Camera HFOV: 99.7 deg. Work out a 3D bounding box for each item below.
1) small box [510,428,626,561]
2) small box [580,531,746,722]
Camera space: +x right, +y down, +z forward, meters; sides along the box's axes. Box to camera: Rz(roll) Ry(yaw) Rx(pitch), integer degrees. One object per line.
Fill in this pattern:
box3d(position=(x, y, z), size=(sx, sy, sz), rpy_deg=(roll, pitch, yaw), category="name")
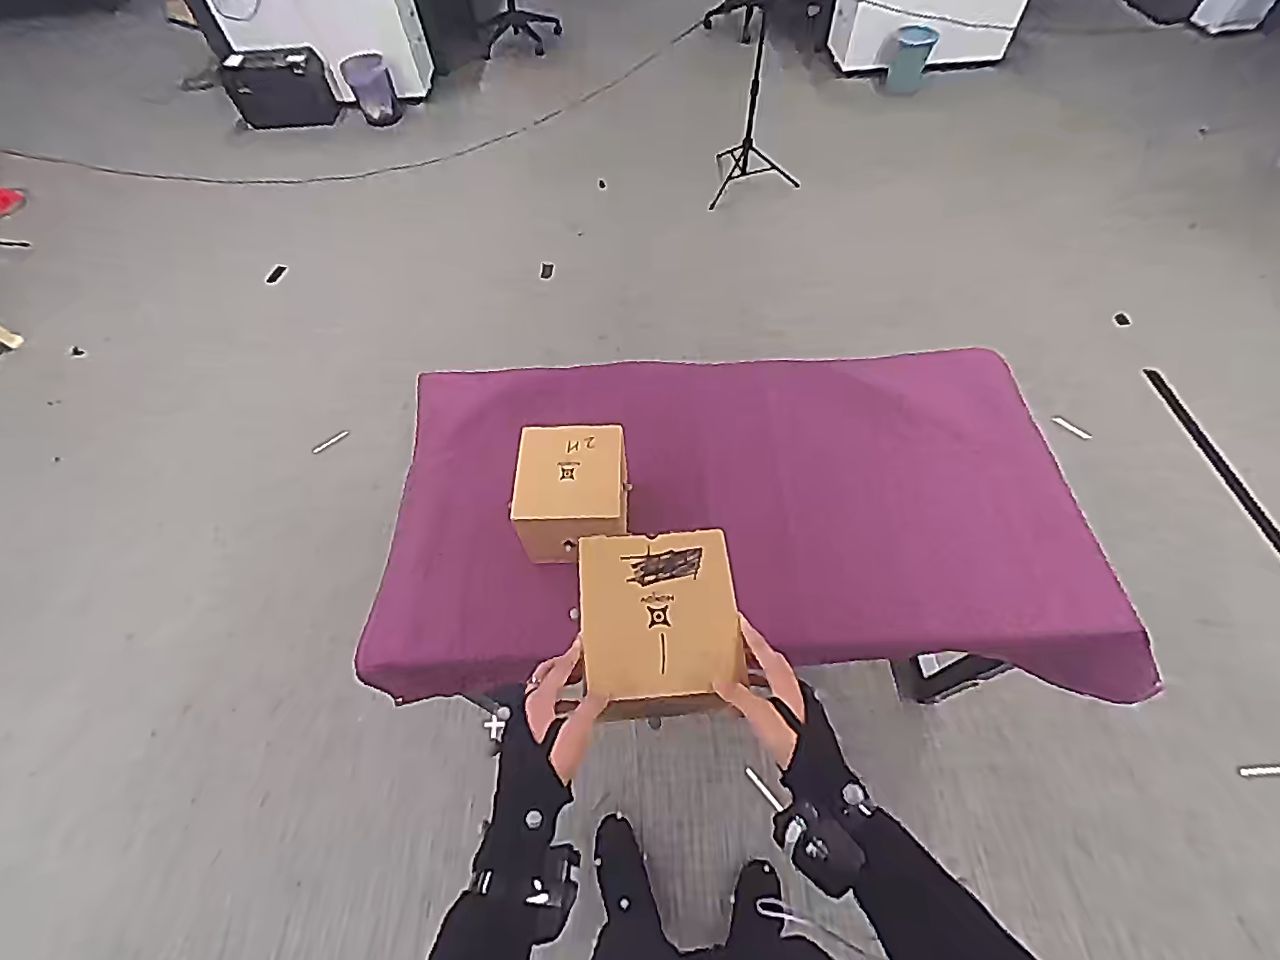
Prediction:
box3d(position=(-0.111, 0.032, 0.914), size=(0.168, 0.176, 0.179), rpy_deg=(-1, 58, 1), category="small box")
box3d(position=(0.014, 0.176, 0.635), size=(0.168, 0.176, 0.179), rpy_deg=(-3, 60, -4), category="small box")
